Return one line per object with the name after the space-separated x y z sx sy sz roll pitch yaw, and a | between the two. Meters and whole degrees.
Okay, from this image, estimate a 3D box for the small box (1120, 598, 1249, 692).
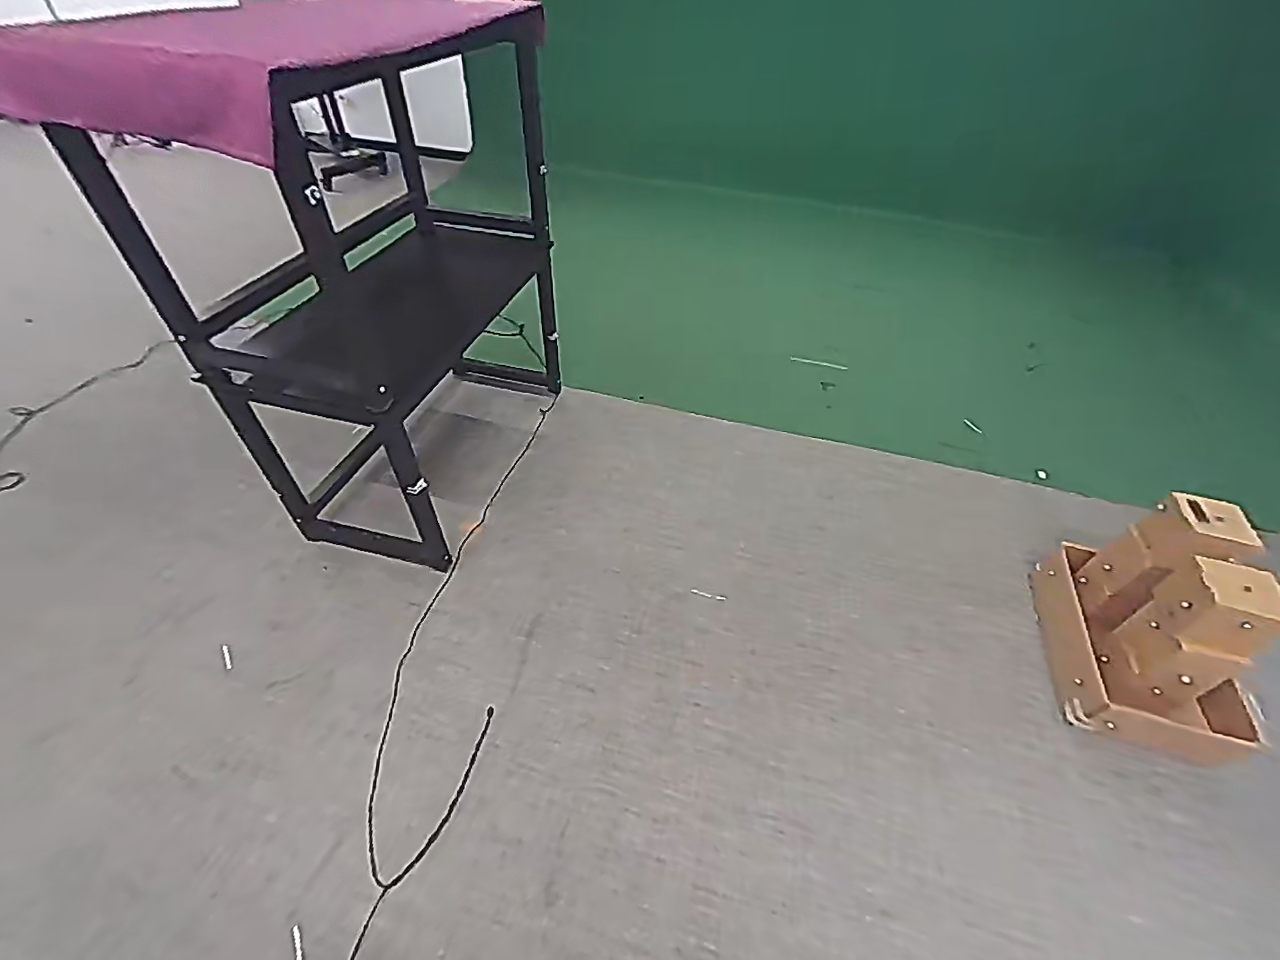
1.520 0.467 1.528 0.168 0.176 0.179 12 46 9 | small box

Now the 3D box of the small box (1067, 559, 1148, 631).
1.597 0.400 1.835 0.179 0.176 0.168 13 47 10 | small box

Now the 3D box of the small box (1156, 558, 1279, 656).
1.524 0.338 1.428 0.179 0.176 0.168 16 46 12 | small box

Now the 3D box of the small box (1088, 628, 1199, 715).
1.513 0.585 1.644 0.179 0.176 0.168 15 46 11 | small box

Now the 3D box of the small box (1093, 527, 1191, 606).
1.600 0.283 1.717 0.168 0.176 0.179 14 47 9 | small box
